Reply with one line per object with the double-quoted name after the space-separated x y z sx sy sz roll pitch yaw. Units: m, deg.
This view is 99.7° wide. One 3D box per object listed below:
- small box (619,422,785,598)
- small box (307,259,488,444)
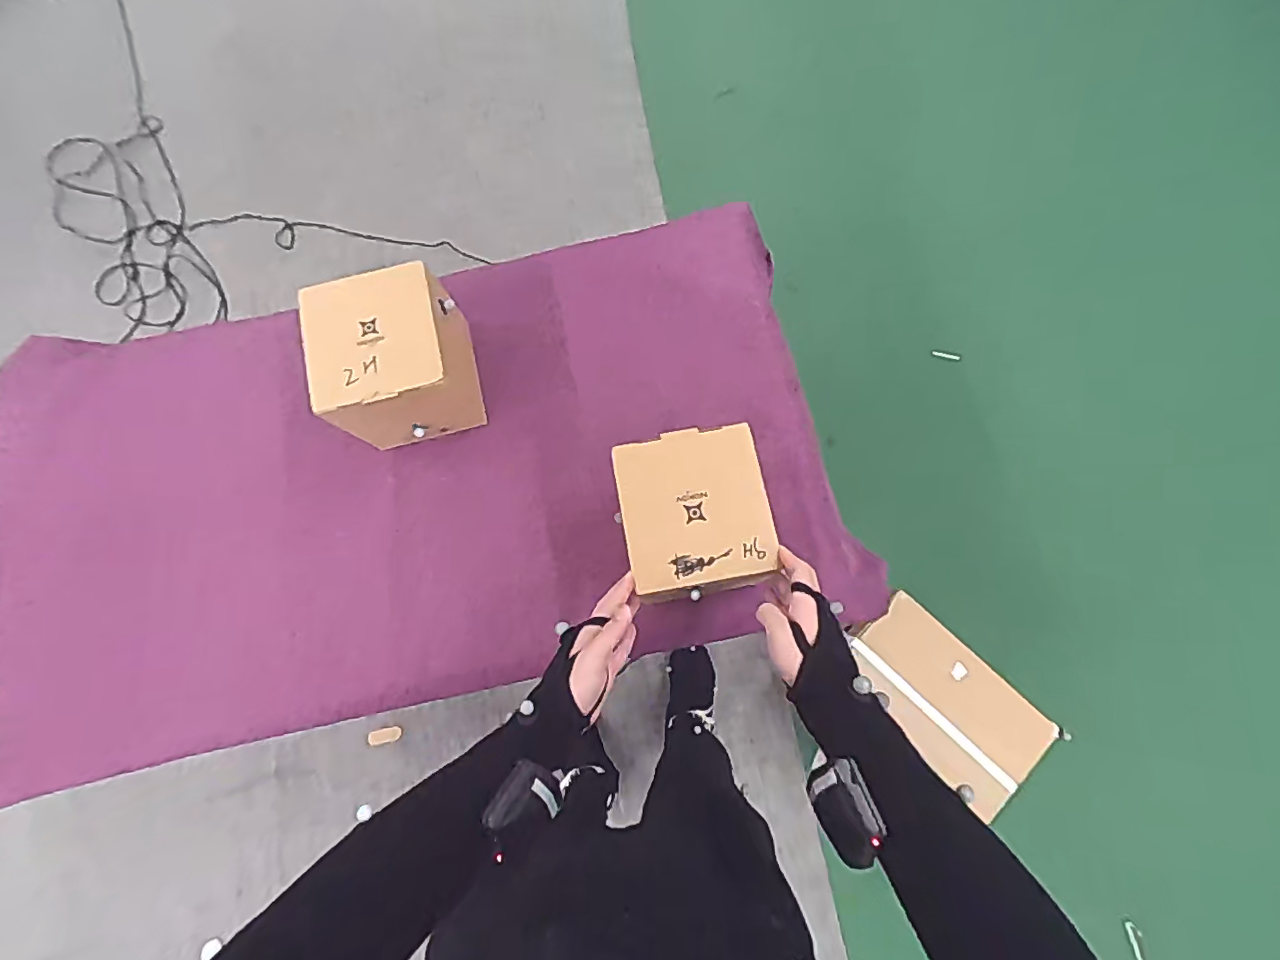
0.069 0.047 0.687 0.168 0.176 0.179 -10 75 1 "small box"
-0.327 -0.168 0.753 0.168 0.176 0.179 -14 78 0 "small box"
